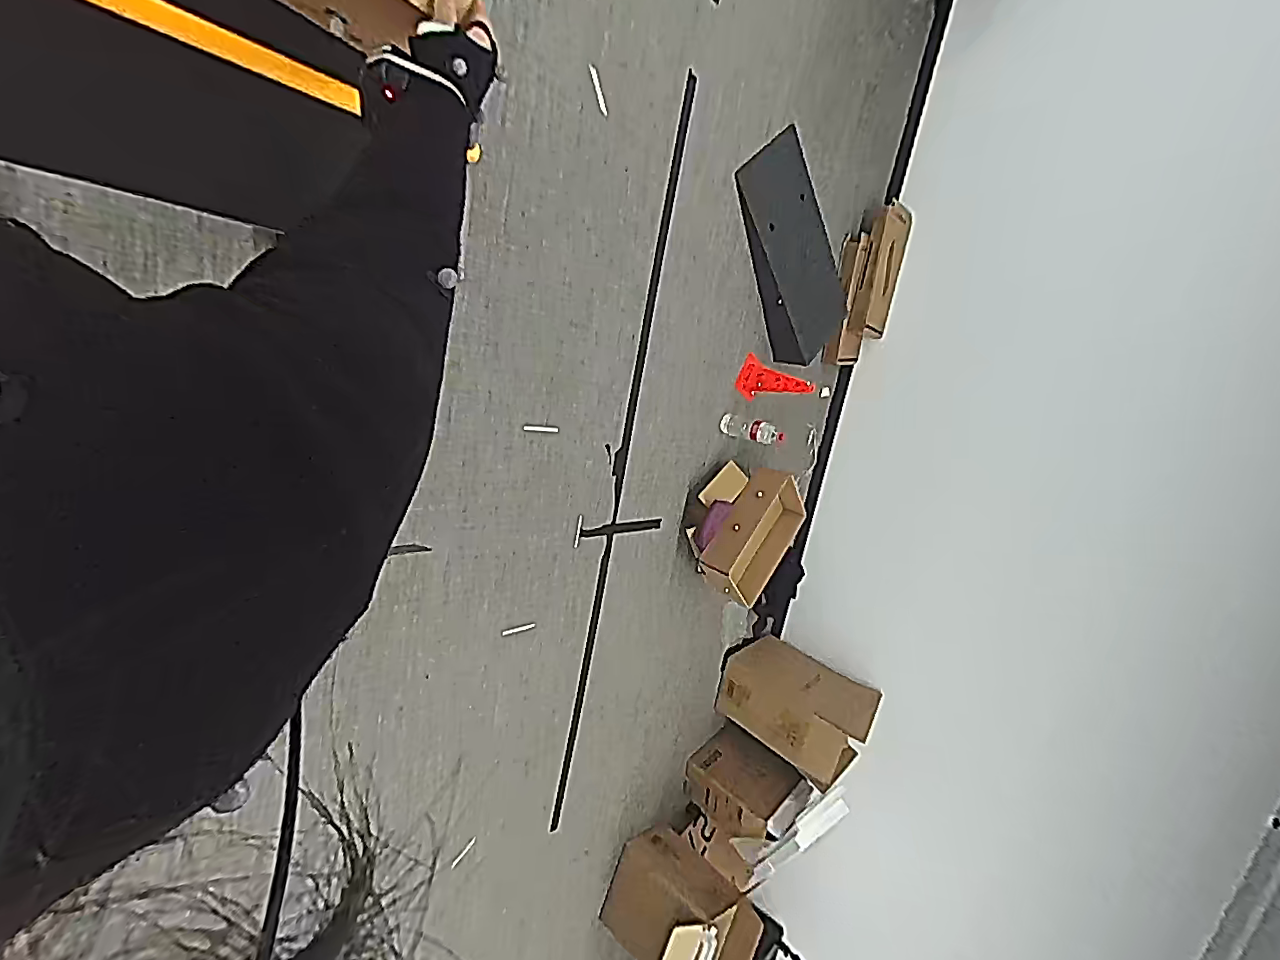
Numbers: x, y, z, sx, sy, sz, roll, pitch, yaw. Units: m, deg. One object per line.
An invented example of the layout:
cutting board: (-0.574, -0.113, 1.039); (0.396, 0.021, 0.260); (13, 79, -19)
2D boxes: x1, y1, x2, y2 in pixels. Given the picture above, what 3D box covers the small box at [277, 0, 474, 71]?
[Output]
small box: (-0.276, -0.569, 0.552); (0.168, 0.176, 0.179); (5, 103, -49)
